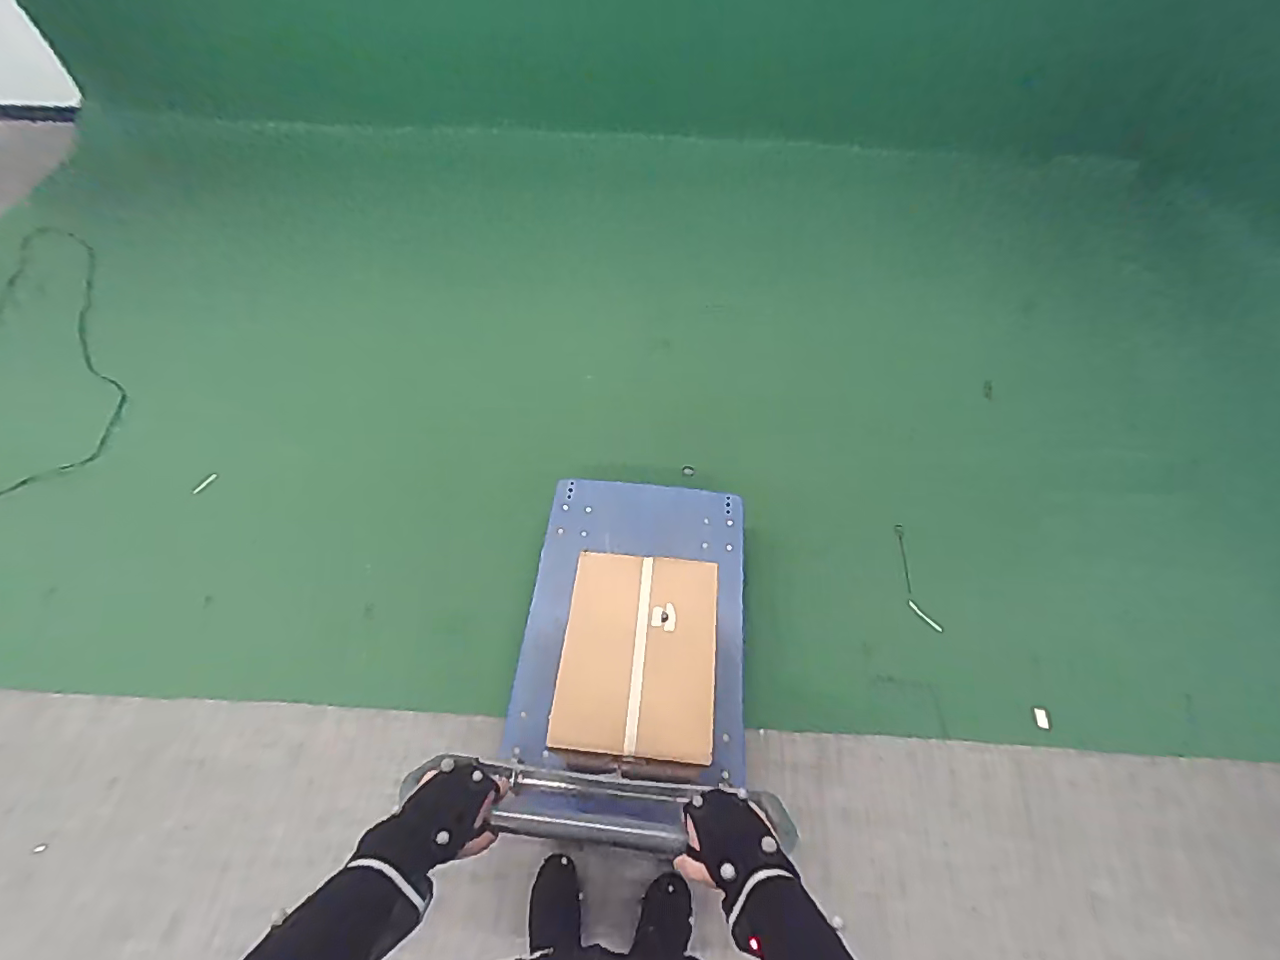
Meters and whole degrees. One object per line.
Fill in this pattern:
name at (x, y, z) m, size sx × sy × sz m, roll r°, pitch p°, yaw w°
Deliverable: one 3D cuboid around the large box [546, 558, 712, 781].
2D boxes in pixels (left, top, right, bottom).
large box at (-0.009, 0.436, 1.232) m, size 0.320 × 0.320 × 0.408 m, roll 5°, pitch 56°, yaw 2°
